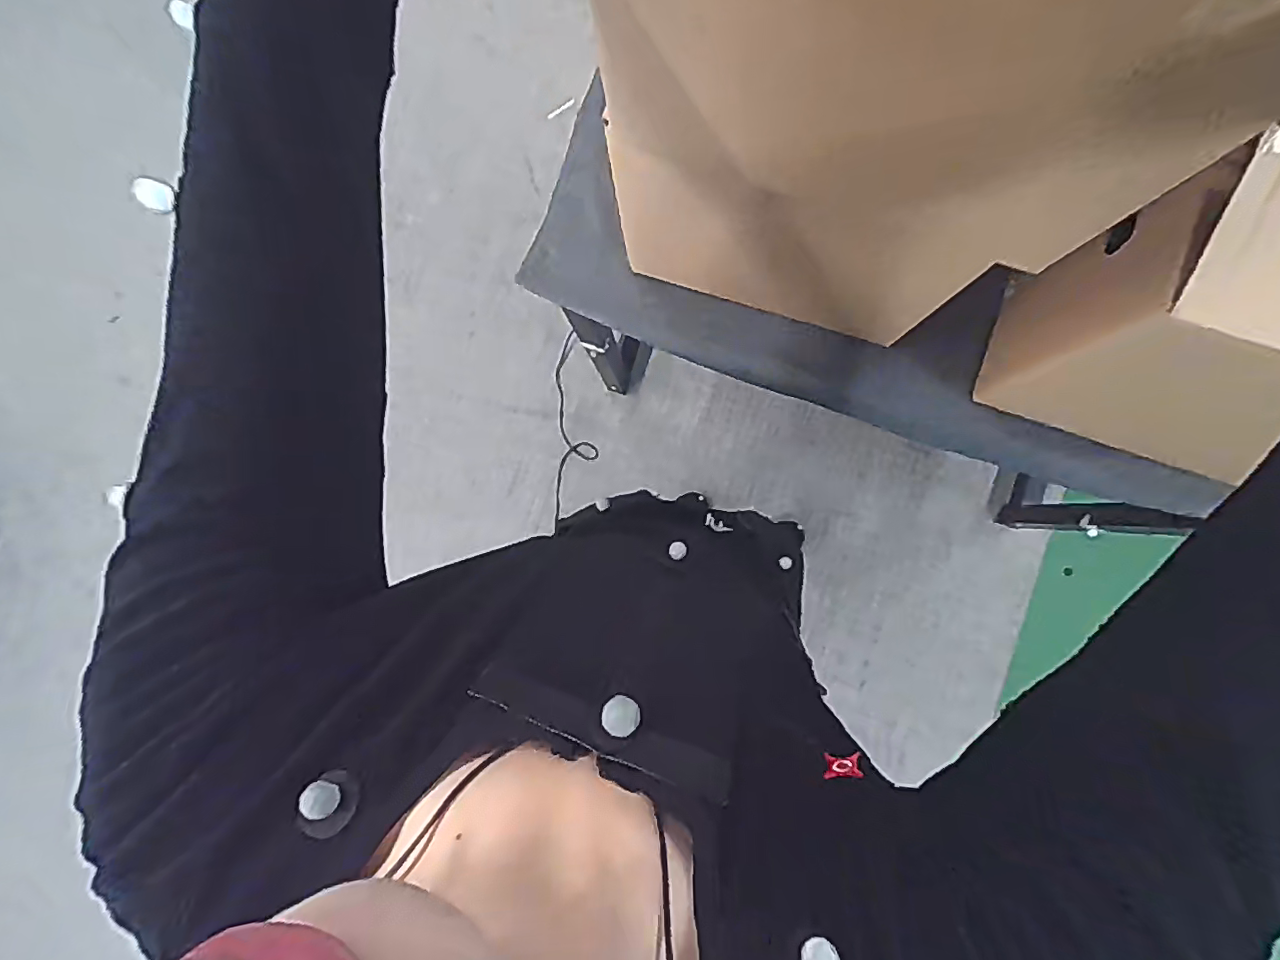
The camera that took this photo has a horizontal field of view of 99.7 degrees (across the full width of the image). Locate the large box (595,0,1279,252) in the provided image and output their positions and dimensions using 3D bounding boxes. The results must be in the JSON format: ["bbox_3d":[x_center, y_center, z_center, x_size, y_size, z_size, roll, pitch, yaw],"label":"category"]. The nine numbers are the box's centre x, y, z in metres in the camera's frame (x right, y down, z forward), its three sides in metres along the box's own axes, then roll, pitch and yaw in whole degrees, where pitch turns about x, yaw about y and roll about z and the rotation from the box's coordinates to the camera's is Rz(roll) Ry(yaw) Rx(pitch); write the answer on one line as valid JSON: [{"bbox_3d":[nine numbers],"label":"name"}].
[{"bbox_3d":[0.199,-0.409,0.350,0.408,0.320,0.320,19,90,3],"label":"large box"}]
